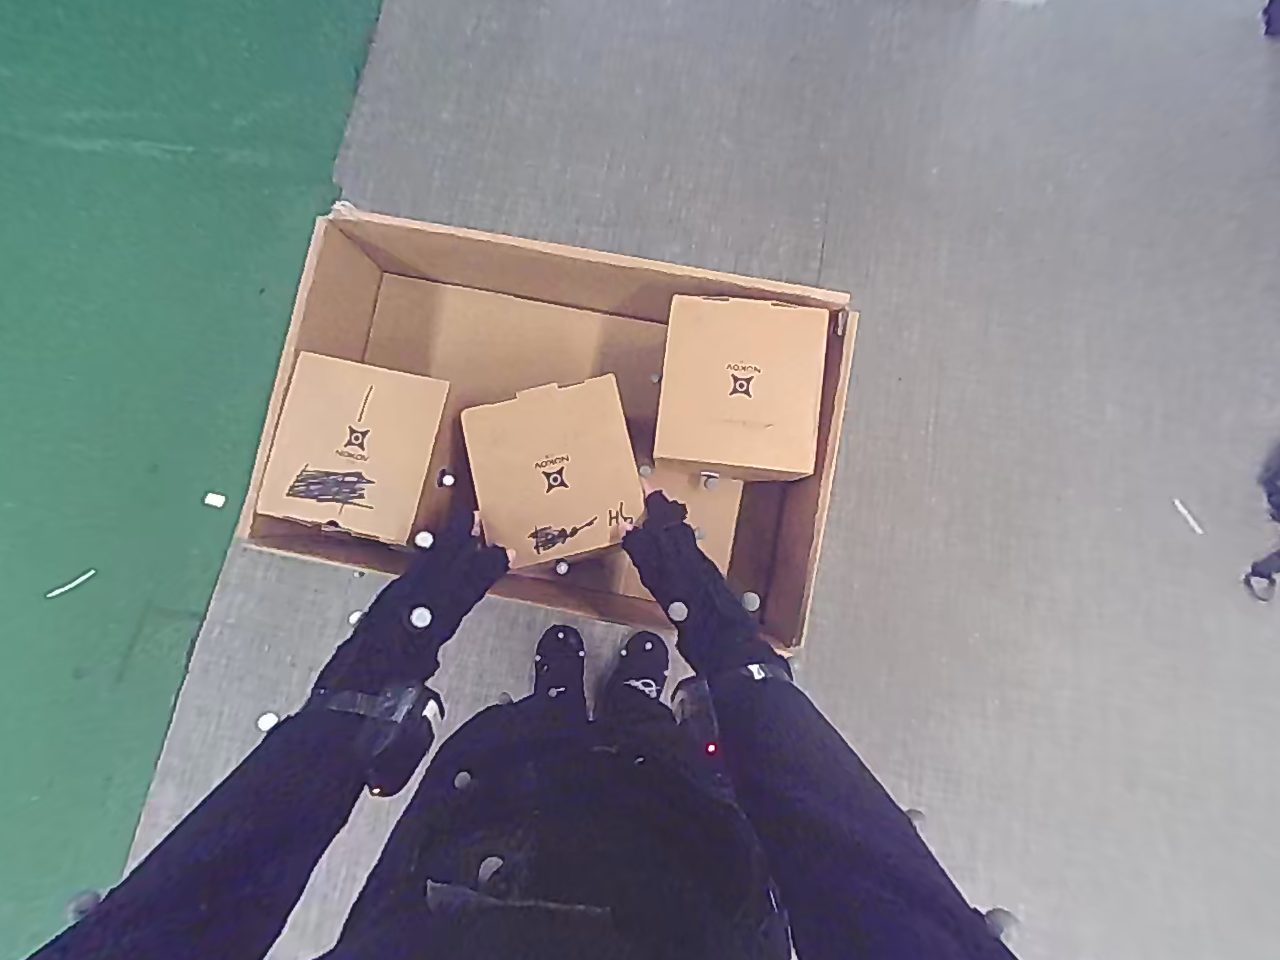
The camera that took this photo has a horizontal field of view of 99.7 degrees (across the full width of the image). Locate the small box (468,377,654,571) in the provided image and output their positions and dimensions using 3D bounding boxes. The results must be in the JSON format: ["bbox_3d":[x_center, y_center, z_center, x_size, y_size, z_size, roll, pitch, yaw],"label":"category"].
[{"bbox_3d":[-0.082,0.005,0.632,0.168,0.176,0.179,-14,80,0],"label":"small box"}]
